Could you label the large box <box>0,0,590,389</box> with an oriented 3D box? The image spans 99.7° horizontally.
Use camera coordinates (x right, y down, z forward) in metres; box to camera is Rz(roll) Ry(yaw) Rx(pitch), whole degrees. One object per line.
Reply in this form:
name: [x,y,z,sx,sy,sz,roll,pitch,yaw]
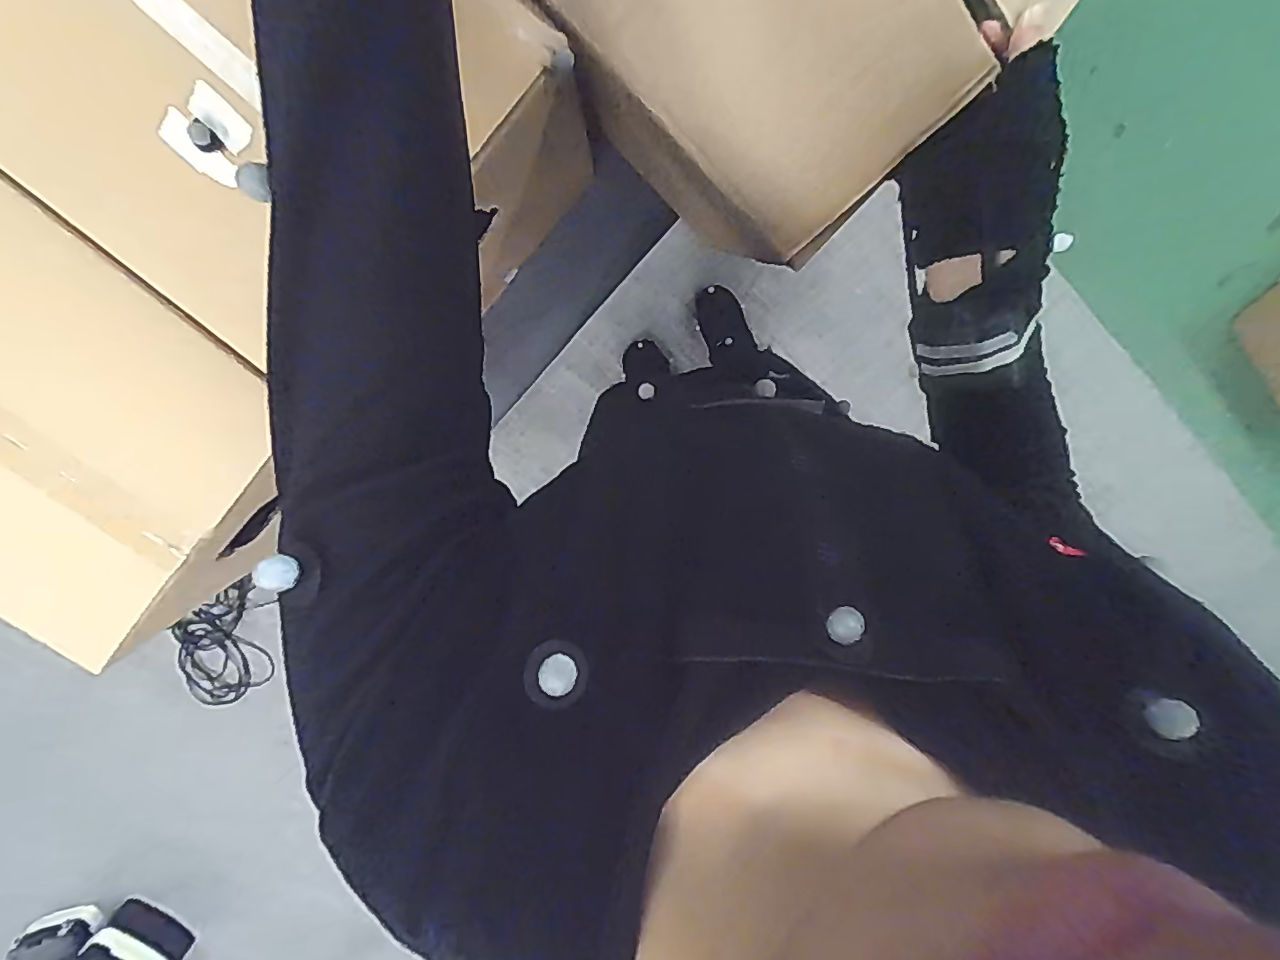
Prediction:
large box: [-0.297,-0.340,0.484,0.408,0.320,0.320,41,102,-12]
